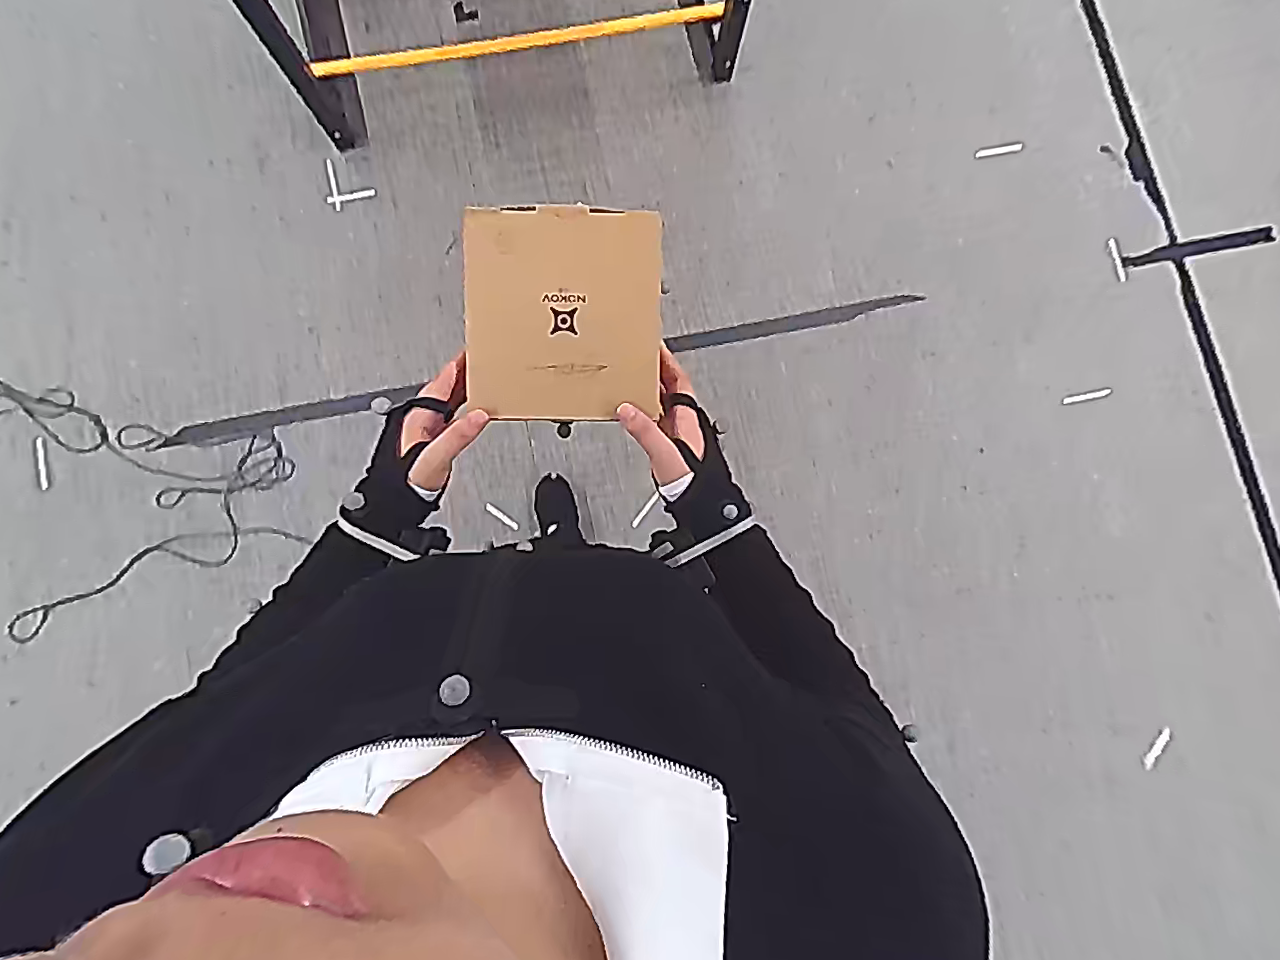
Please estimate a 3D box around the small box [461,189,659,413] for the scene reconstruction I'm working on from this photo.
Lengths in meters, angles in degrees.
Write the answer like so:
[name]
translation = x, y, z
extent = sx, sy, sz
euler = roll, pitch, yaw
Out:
[small box]
translation = -0.072, -0.158, 0.533
extent = 0.168, 0.176, 0.179
euler = 0, 96, -2
